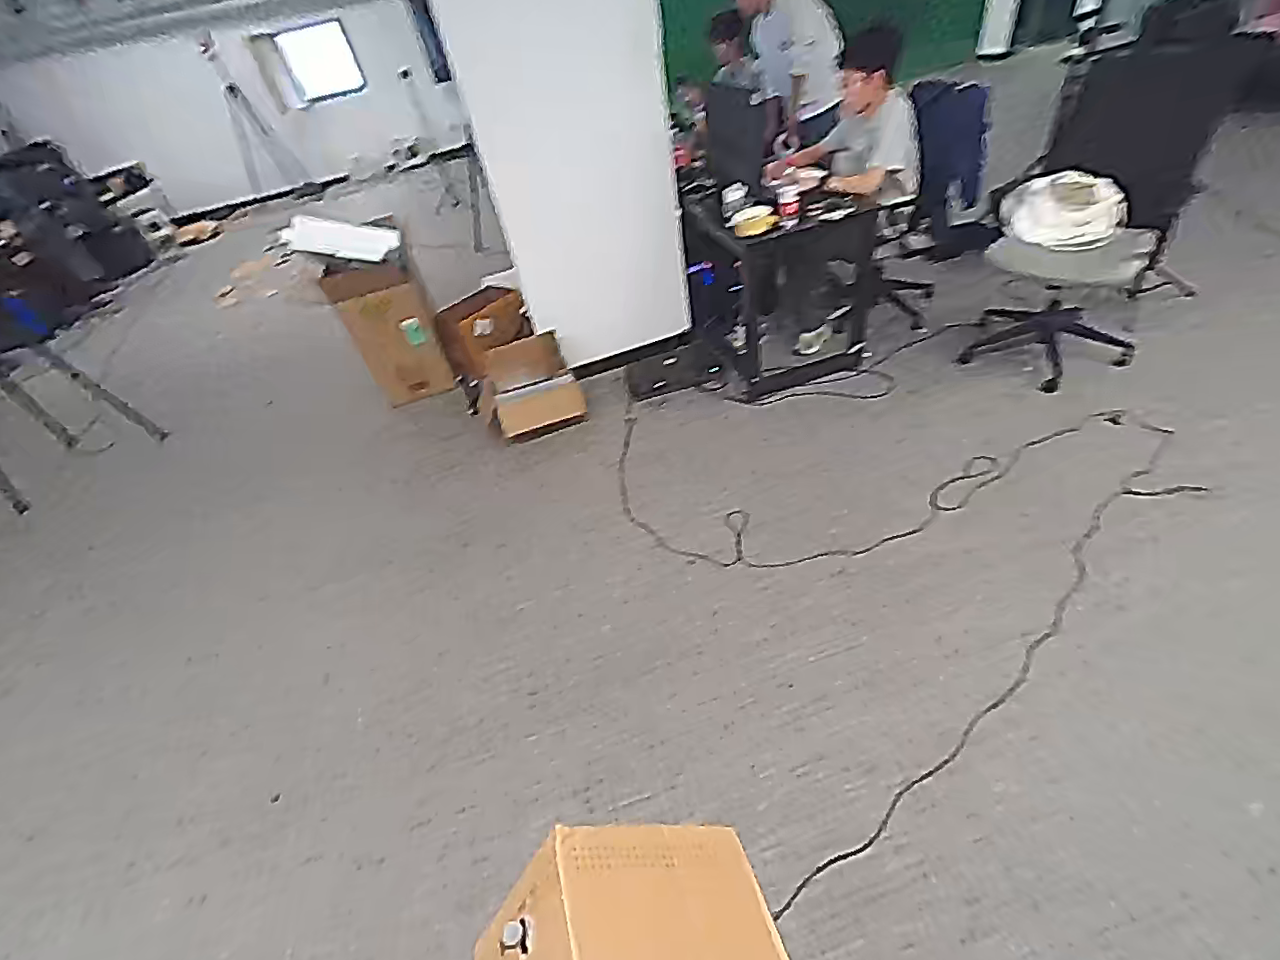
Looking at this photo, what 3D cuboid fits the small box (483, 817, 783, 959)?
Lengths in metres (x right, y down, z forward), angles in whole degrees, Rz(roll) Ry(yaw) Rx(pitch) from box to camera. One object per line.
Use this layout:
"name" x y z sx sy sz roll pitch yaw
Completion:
"small box" -0.002 0.377 0.395 0.179 0.168 0.176 20 20 -27
